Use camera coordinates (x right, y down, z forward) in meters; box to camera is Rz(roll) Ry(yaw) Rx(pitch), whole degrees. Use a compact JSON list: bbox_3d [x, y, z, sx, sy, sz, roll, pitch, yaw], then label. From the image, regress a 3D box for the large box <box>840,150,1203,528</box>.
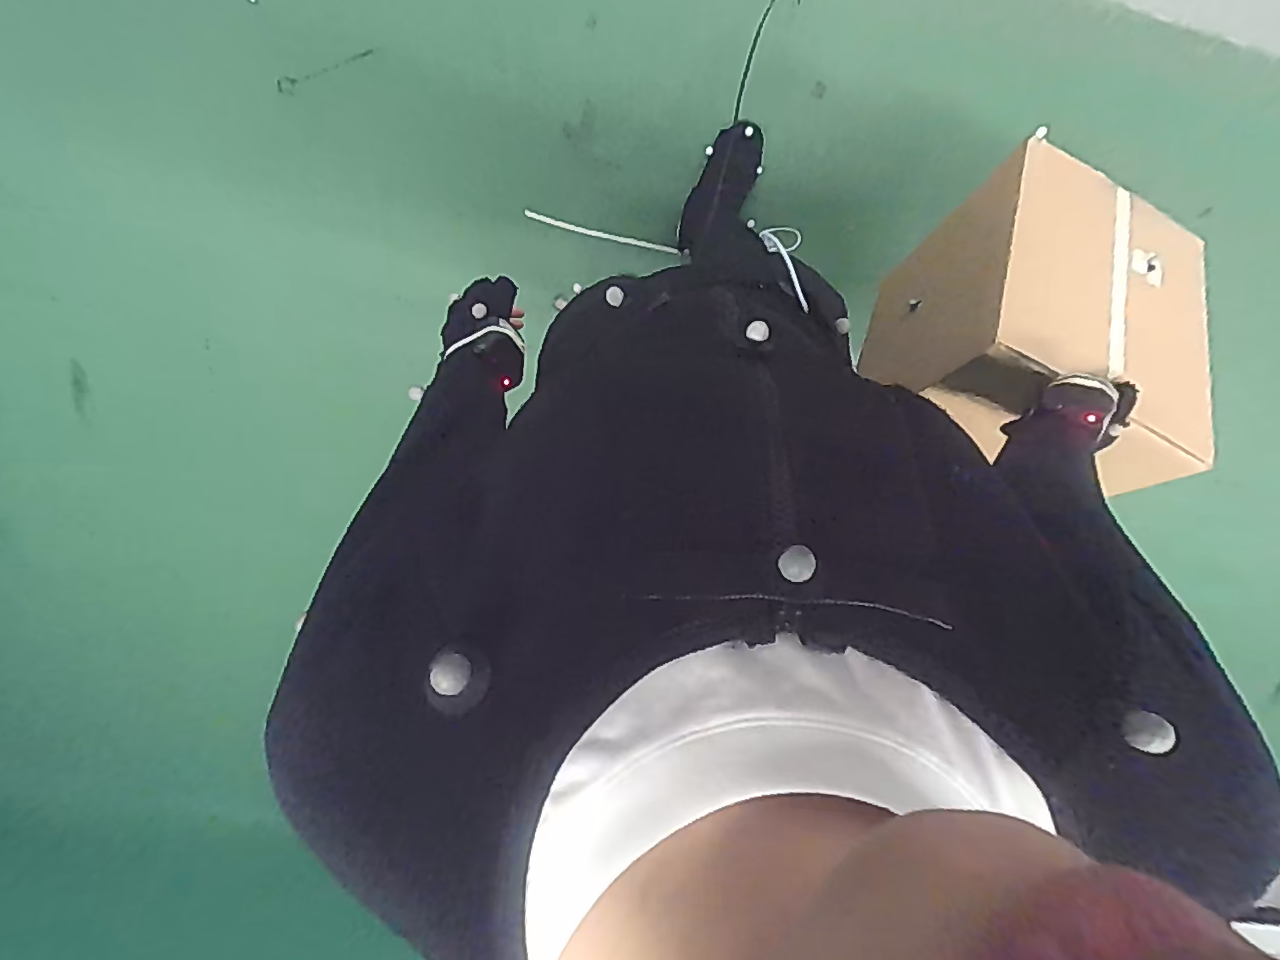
[{"bbox_3d":[0.563,-0.192,0.841,0.320,0.408,0.320,27,155,-6],"label":"large box"}]
